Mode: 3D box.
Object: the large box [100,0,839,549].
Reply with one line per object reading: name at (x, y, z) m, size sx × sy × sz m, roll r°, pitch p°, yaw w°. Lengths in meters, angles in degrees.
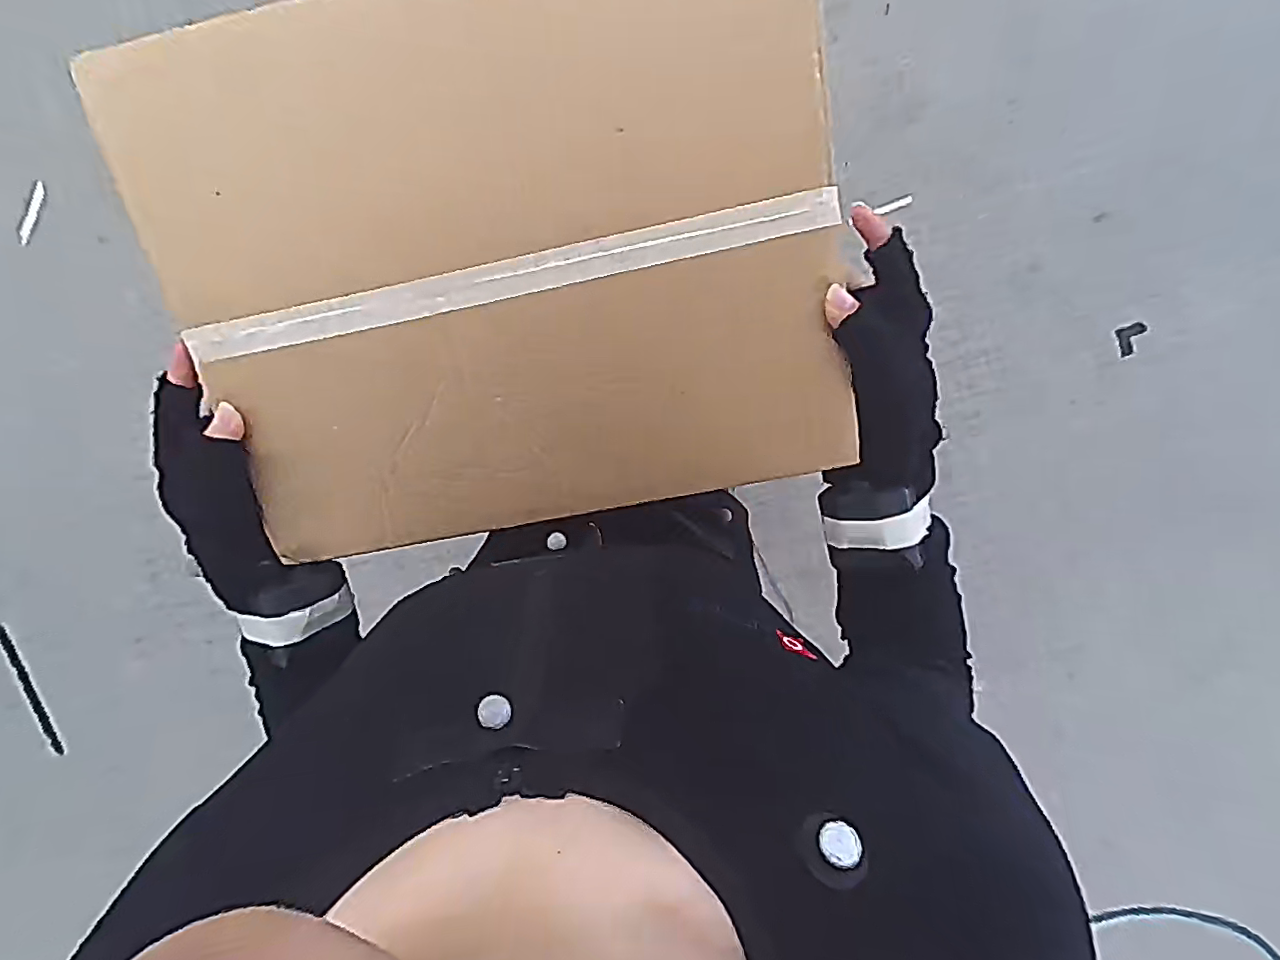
large box at (-0.084, -0.174, 0.479) m, size 0.408 × 0.320 × 0.320 m, roll -10°, pitch 106°, yaw 5°
